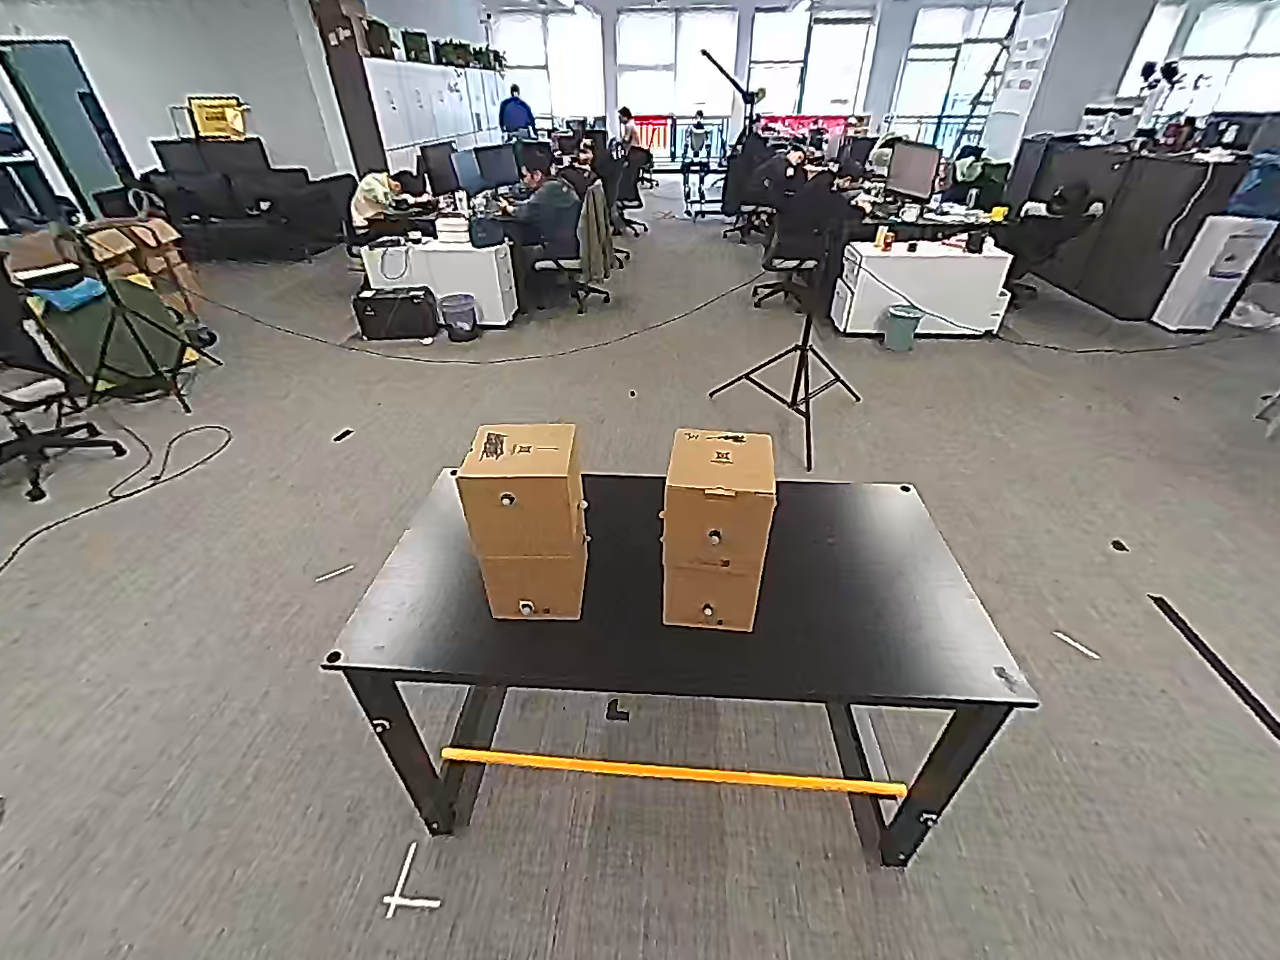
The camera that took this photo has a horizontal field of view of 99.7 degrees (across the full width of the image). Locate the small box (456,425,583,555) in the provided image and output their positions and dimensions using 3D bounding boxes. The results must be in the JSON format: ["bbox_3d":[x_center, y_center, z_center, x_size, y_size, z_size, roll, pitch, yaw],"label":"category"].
[{"bbox_3d":[-0.198,0.019,0.945,0.179,0.176,0.168,-1,36,0],"label":"small box"}]

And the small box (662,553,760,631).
[{"bbox_3d":[0.131,0.158,1.026,0.168,0.176,0.179,3,36,6],"label":"small box"}]

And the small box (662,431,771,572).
[{"bbox_3d":[0.129,0.036,0.915,0.168,0.176,0.179,5,37,8],"label":"small box"}]

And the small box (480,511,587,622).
[{"bbox_3d":[-0.195,0.151,1.043,0.168,0.176,0.179,-1,36,1],"label":"small box"}]
